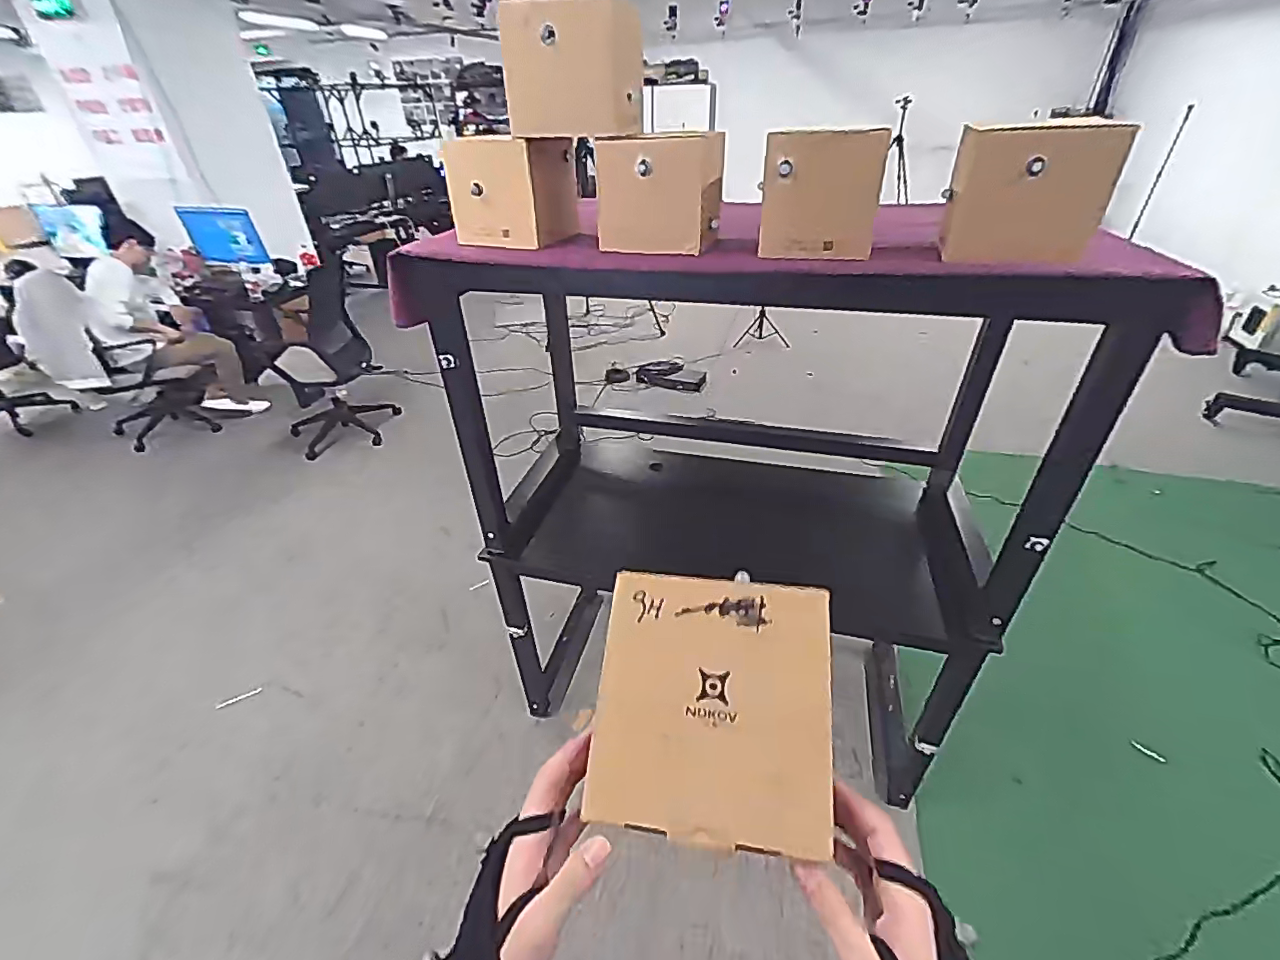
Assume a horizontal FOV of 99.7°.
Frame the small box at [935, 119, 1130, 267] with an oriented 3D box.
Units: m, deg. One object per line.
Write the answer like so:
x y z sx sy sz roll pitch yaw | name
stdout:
0.538 -0.411 0.777 0.179 0.176 0.168 9 37 18 | small box

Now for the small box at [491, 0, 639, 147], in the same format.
-0.106 -0.623 0.848 0.179 0.176 0.168 7 35 12 | small box

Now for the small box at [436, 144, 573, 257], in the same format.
-0.231 -0.507 0.977 0.168 0.176 0.179 9 34 17 | small box
